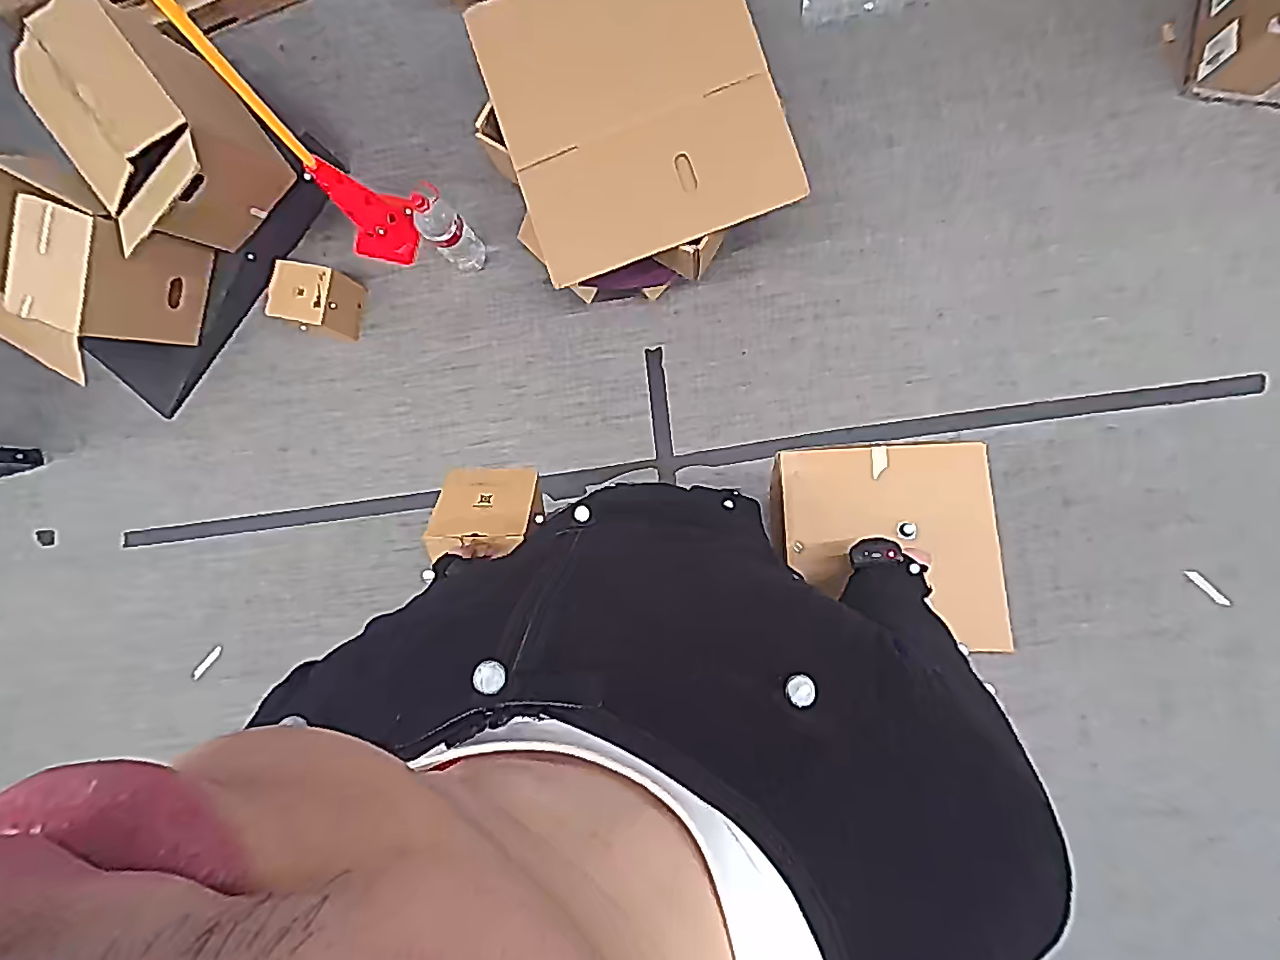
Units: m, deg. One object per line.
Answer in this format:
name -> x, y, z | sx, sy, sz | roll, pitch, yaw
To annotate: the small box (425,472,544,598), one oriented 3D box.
small box -> -0.274, 0.104, 1.001 | 0.168, 0.179, 0.176 | 0, 128, -1
